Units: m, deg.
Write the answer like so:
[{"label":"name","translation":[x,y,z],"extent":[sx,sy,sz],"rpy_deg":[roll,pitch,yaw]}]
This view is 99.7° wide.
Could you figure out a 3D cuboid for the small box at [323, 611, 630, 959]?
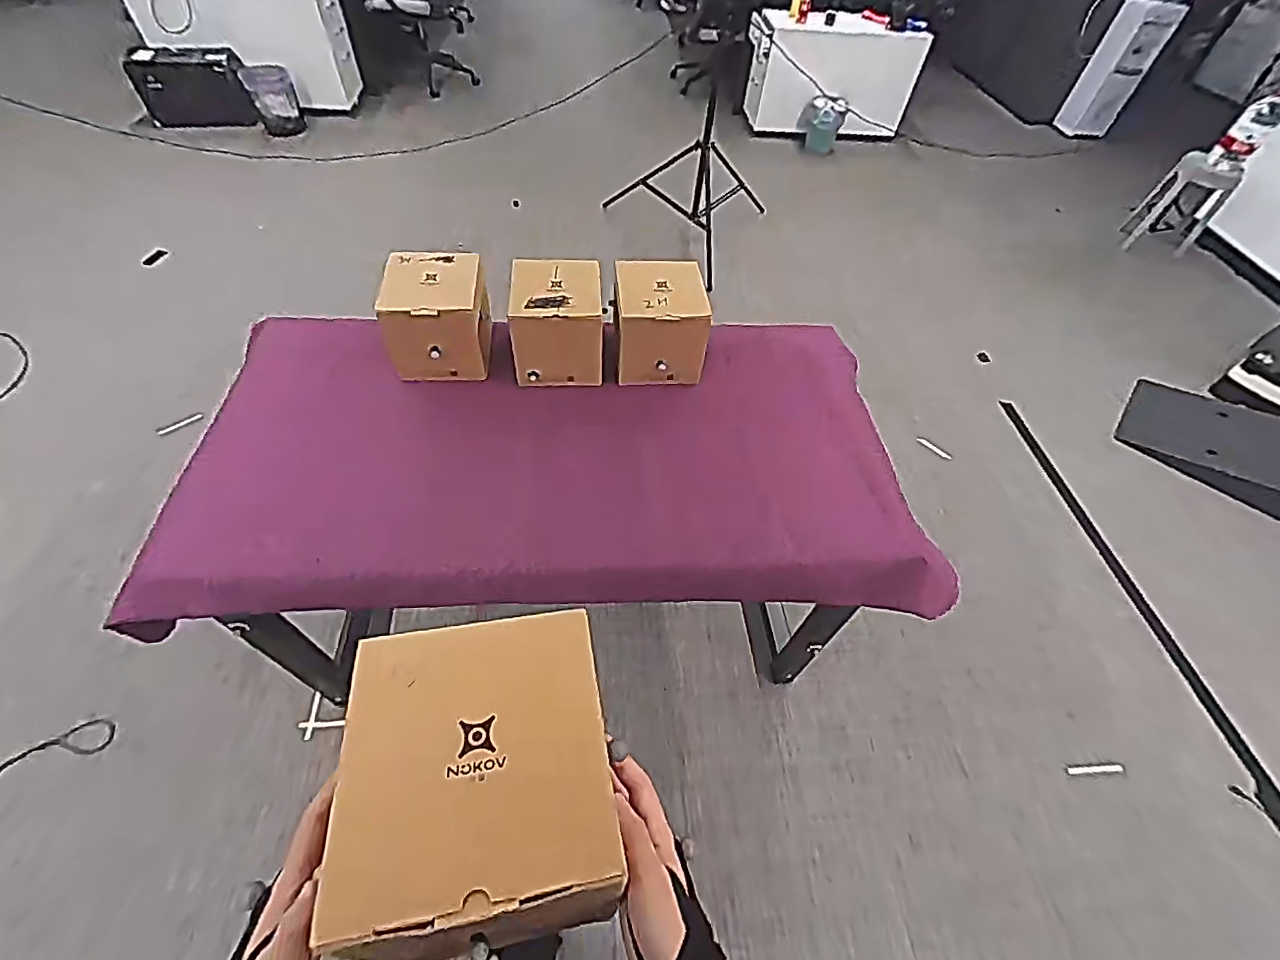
[{"label":"small box","translation":[-0.108,0.227,0.407],"extent":[0.168,0.176,0.179],"rpy_deg":[-6,47,-11]}]

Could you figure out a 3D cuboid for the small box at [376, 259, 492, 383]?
[{"label":"small box","translation":[-0.382,-0.300,1.041],"extent":[0.168,0.176,0.179],"rpy_deg":[-2,55,-7]}]
